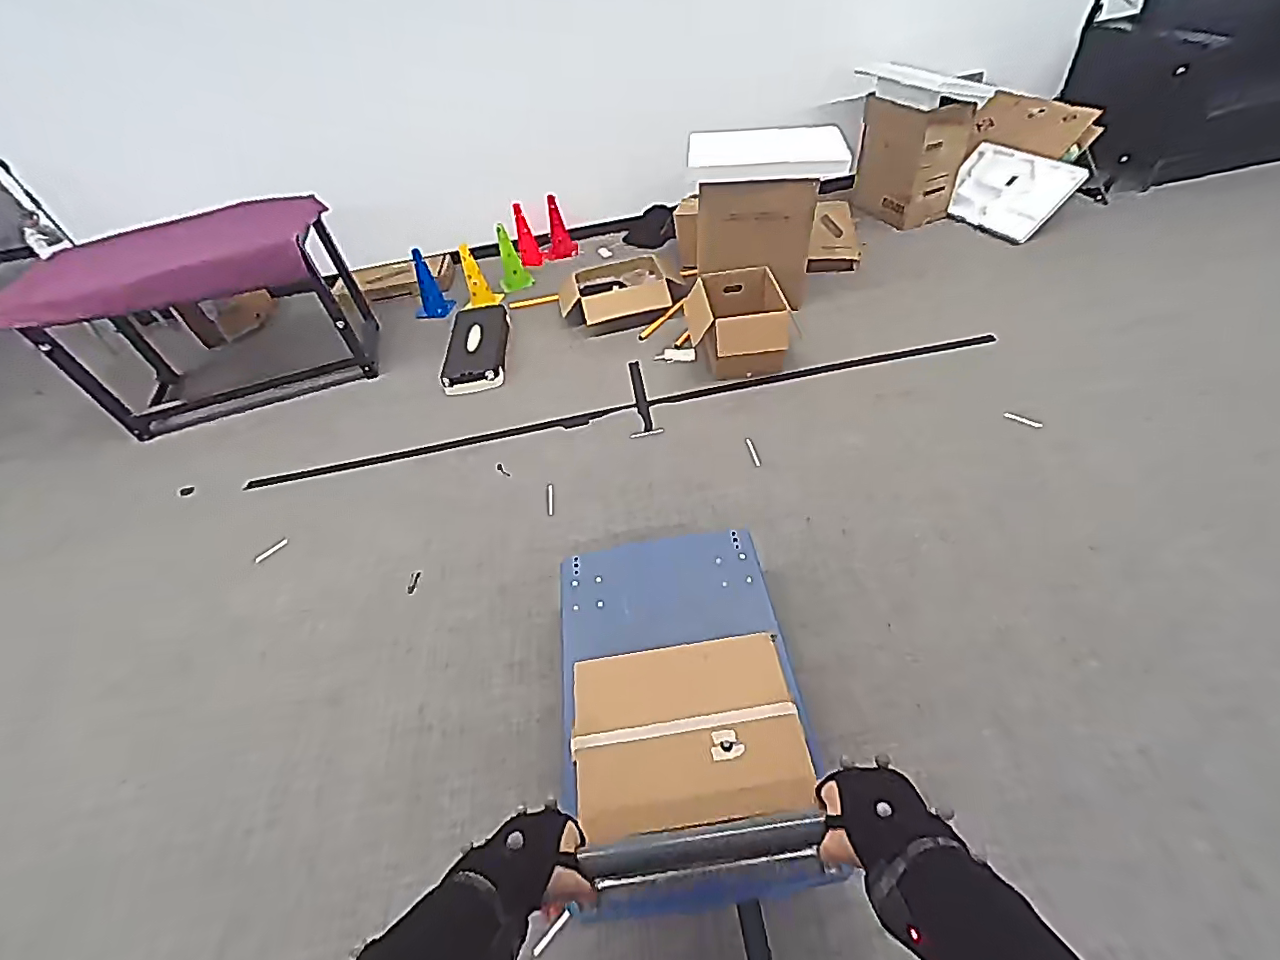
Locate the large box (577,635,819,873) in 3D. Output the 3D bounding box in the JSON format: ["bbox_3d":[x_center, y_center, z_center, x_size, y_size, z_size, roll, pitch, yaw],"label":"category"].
[{"bbox_3d":[0.100,0.559,1.102,0.408,0.320,0.320,-9,47,-1],"label":"large box"}]
